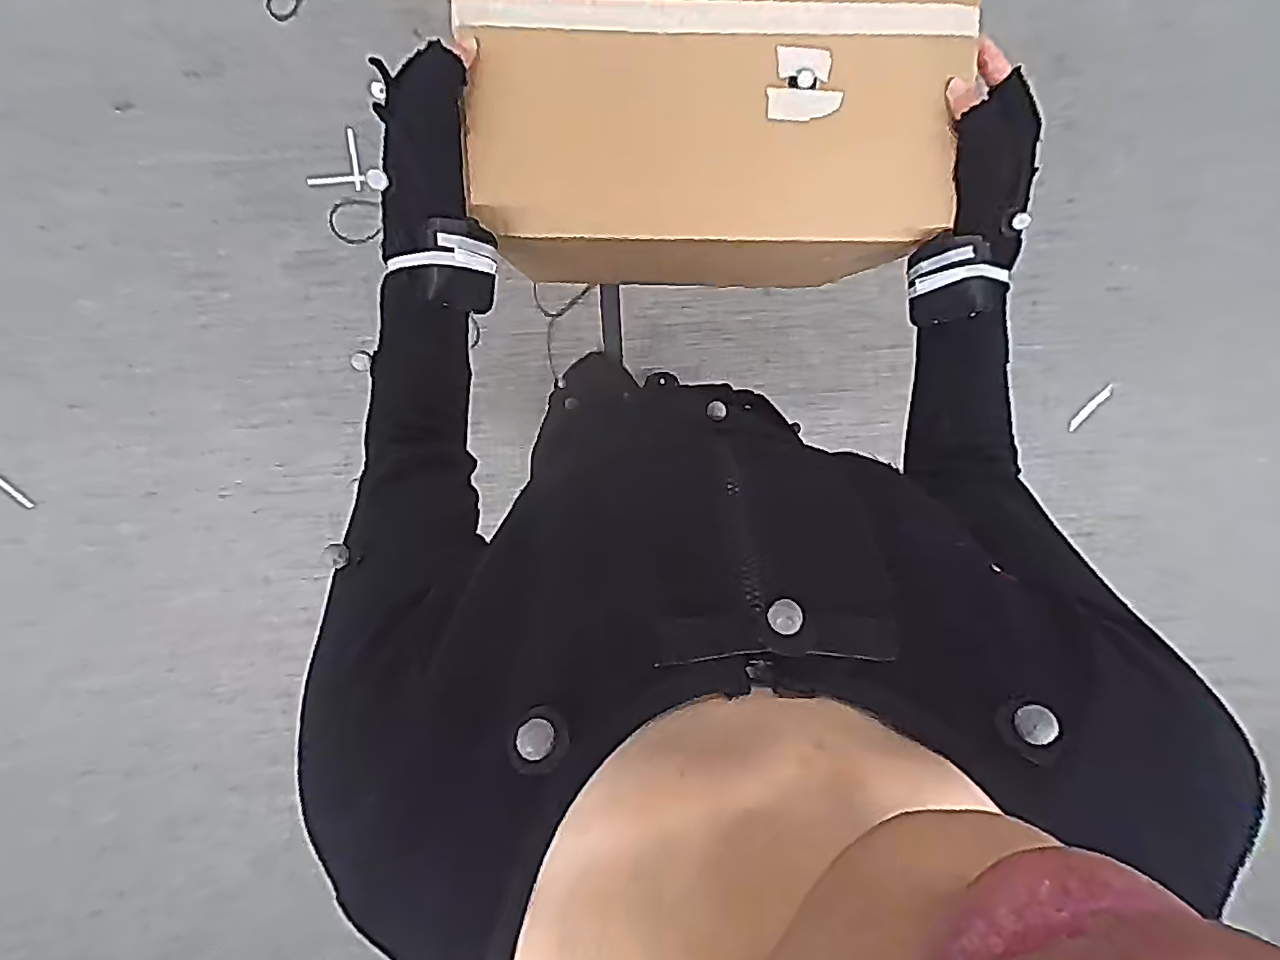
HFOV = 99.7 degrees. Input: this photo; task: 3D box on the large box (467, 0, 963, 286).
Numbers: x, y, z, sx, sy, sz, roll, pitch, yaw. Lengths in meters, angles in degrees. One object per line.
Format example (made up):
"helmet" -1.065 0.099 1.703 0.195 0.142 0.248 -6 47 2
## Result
"large box" 0.054 -0.391 0.579 0.408 0.320 0.320 0 104 -3
